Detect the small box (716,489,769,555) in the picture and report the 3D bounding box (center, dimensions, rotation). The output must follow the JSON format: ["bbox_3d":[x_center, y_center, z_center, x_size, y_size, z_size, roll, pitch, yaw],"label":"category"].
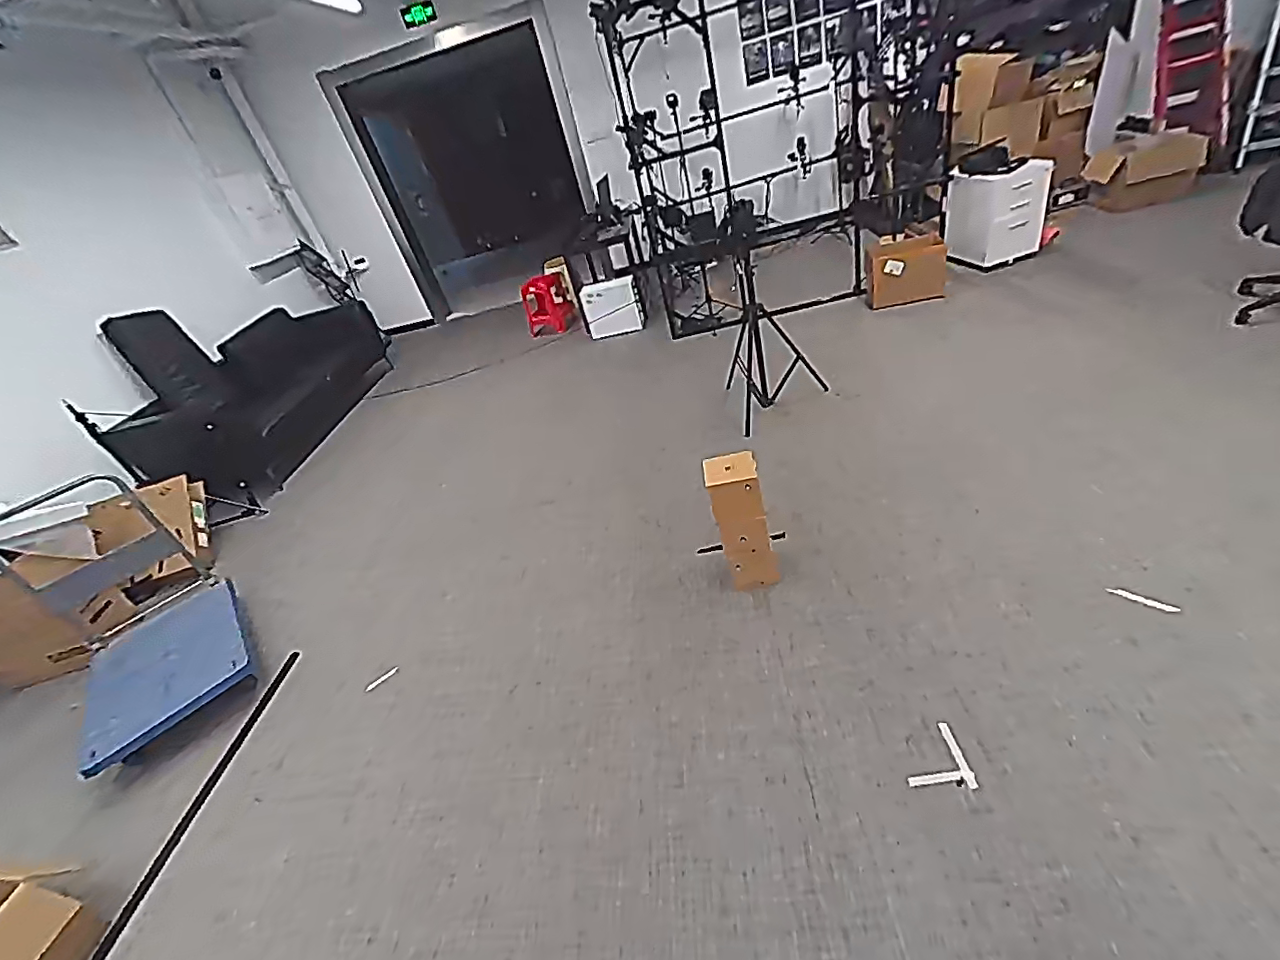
[{"bbox_3d":[0.371,0.159,1.963,0.168,0.176,0.179,-8,34,13],"label":"small box"}]

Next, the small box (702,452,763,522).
[{"bbox_3d":[0.320,0.029,1.878,0.179,0.176,0.168,-11,34,10],"label":"small box"}]
